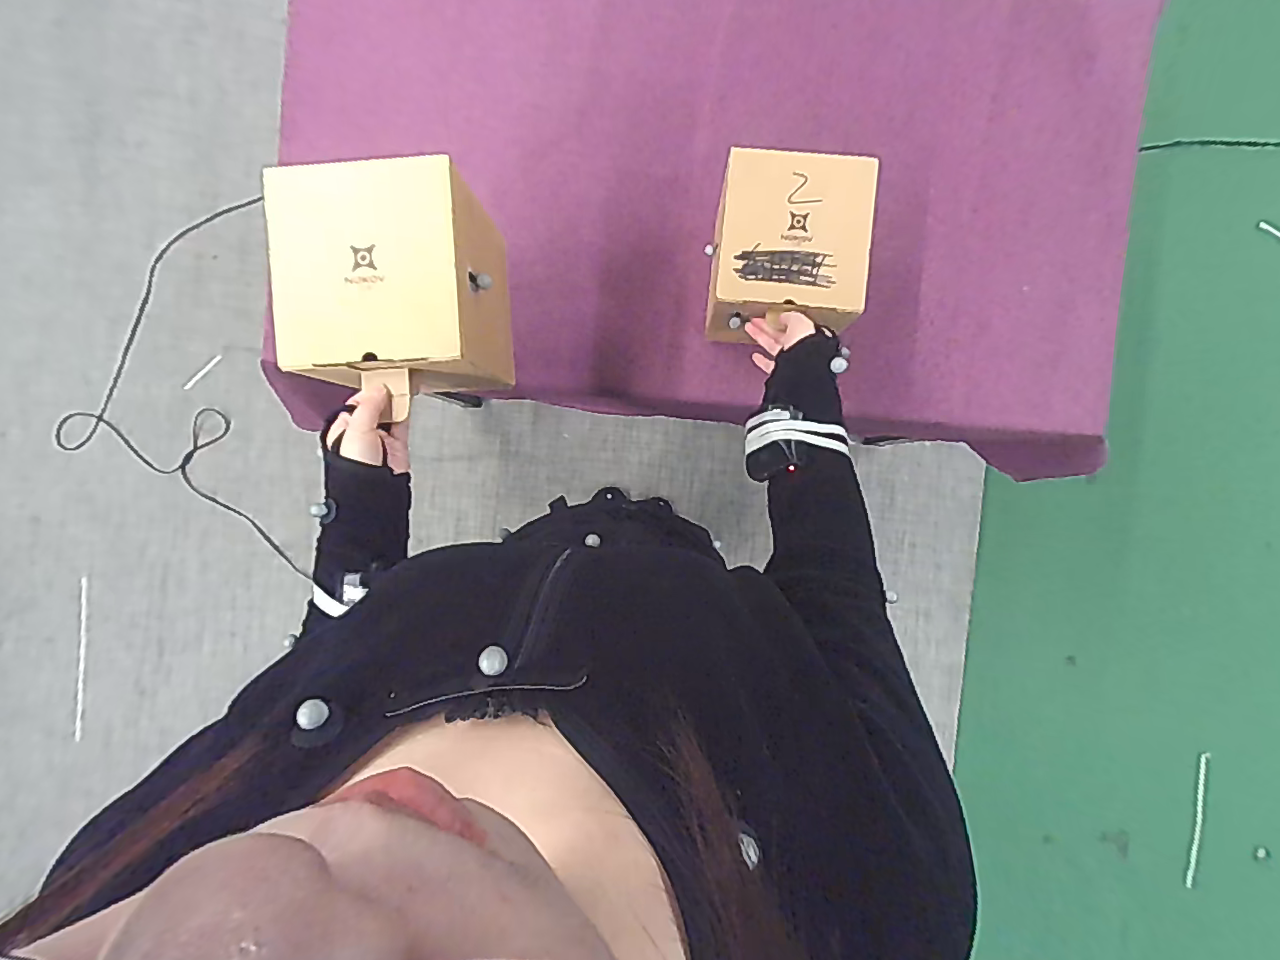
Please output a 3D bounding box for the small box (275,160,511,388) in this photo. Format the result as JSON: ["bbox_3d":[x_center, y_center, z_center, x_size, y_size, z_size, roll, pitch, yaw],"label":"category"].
[{"bbox_3d":[-0.239,-0.197,0.563,0.168,0.176,0.179,-3,93,2],"label":"small box"}]
